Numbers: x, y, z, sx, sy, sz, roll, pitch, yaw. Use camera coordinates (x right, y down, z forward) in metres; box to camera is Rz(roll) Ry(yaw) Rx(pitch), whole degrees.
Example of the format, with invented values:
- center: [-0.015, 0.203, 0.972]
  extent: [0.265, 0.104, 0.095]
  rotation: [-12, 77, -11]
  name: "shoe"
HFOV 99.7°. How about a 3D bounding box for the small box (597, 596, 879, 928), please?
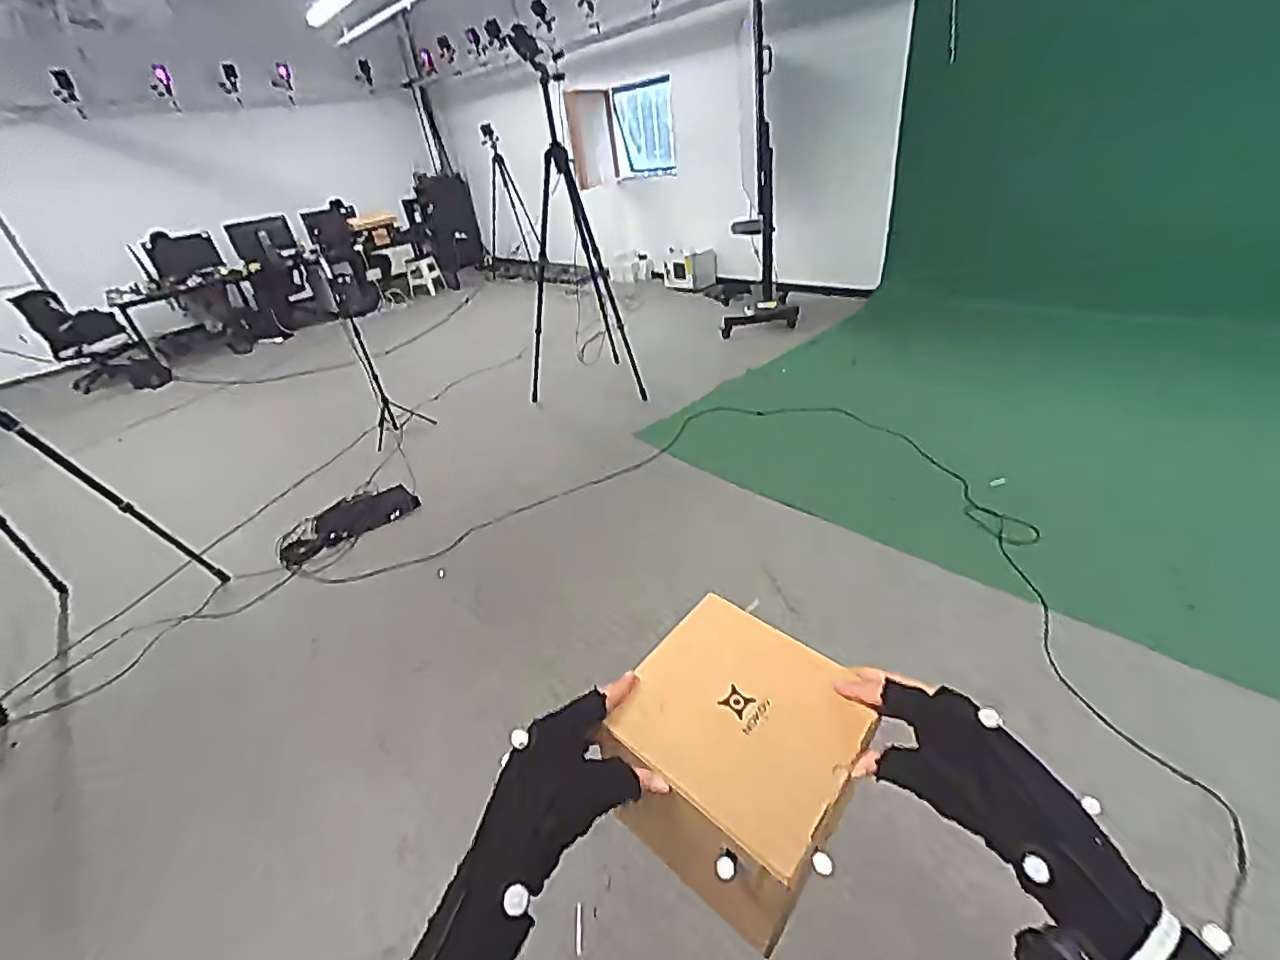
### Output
- center: [0.085, 0.246, 0.488]
  extent: [0.179, 0.176, 0.168]
  rotation: [24, 45, 33]
  name: "small box"
